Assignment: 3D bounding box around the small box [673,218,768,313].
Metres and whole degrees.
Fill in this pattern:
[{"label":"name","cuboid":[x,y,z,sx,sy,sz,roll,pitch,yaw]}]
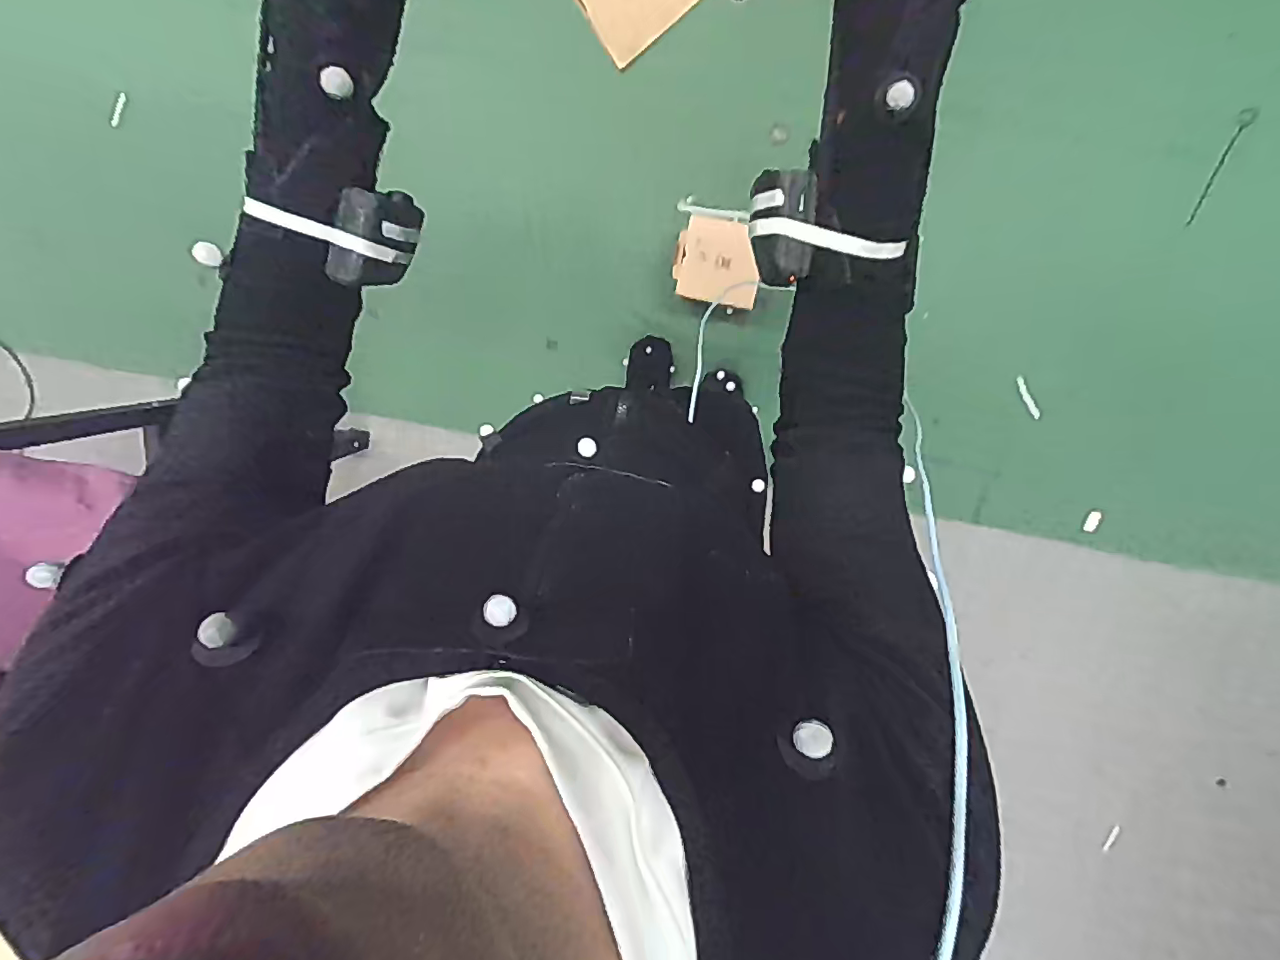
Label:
[{"label":"small box","cuboid":[0.179,-0.484,1.240,0.179,0.176,0.168,12,107,3]}]
